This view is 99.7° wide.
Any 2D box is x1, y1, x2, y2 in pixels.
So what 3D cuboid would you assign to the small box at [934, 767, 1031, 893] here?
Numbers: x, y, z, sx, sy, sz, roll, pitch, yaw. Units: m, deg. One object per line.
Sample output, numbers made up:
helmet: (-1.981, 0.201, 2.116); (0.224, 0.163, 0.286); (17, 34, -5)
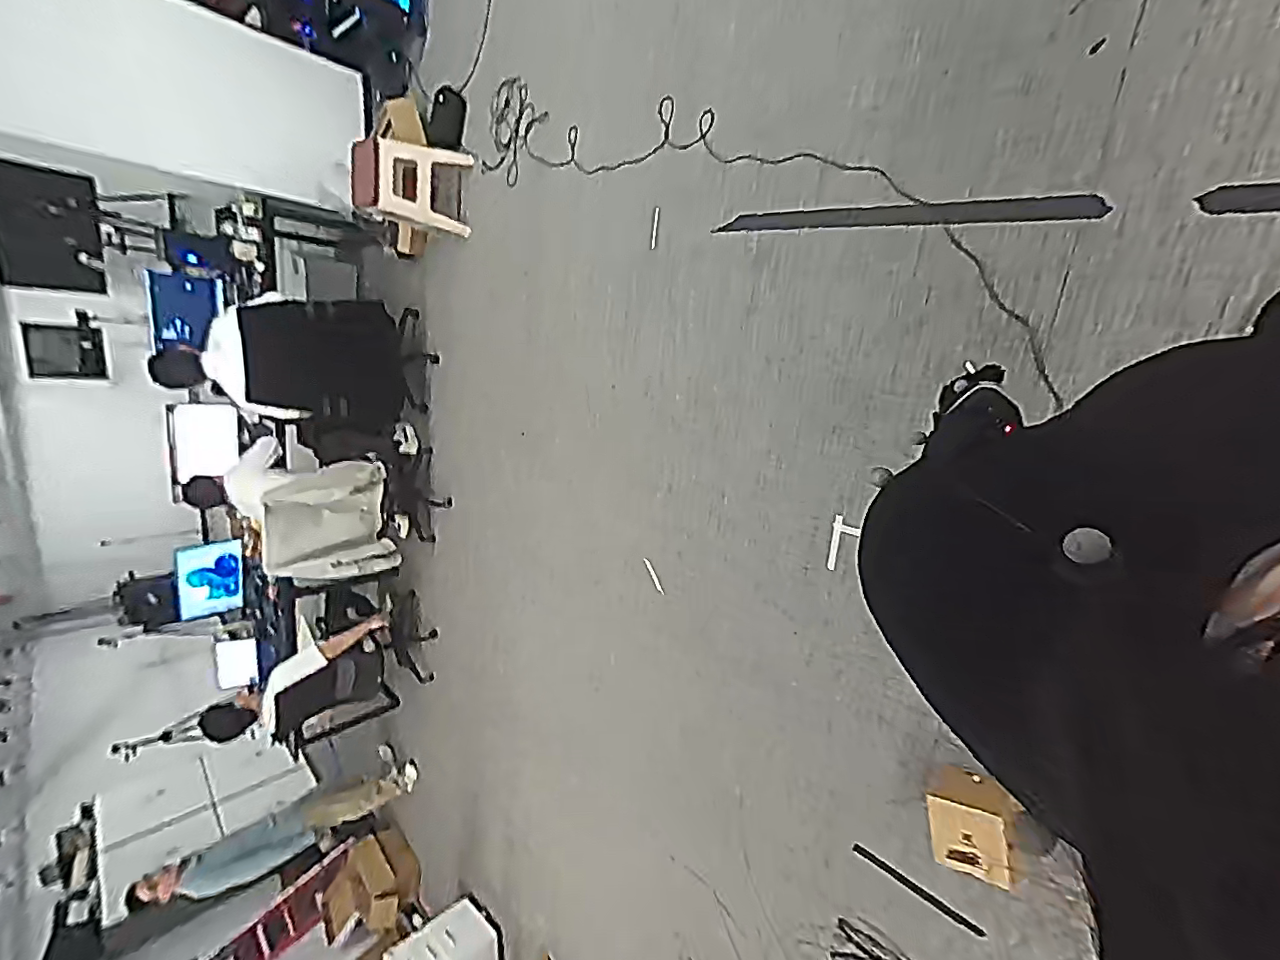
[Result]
small box: (0.857, 0.859, 1.348); (0.168, 0.176, 0.179); (-6, 91, 45)
